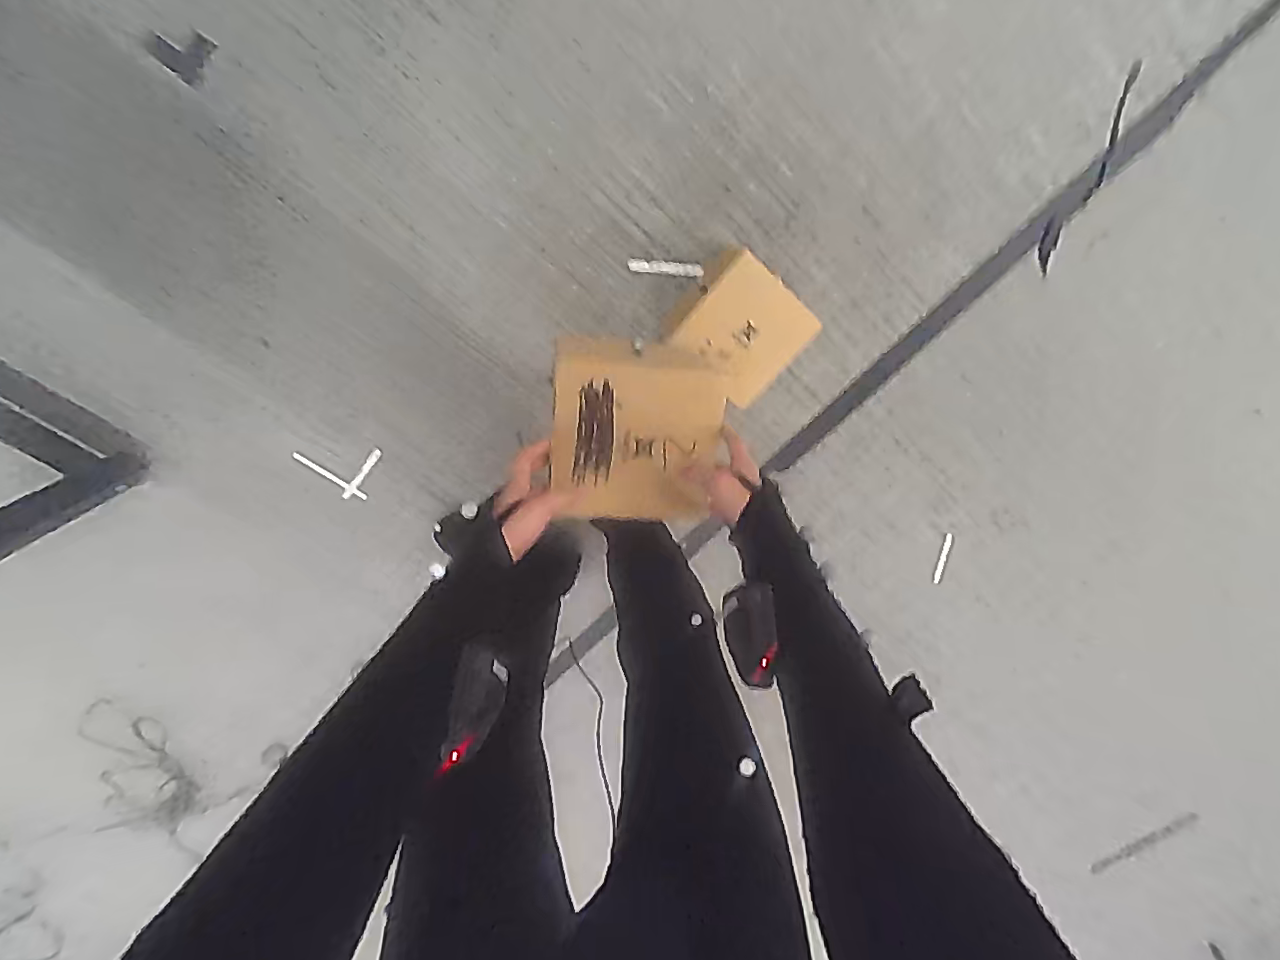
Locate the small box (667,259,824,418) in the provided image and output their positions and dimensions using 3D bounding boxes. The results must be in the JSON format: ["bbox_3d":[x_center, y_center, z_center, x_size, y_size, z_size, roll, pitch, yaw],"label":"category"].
[{"bbox_3d":[0.157,-0.237,0.879,0.168,0.176,0.179,38,109,-17],"label":"small box"}]
